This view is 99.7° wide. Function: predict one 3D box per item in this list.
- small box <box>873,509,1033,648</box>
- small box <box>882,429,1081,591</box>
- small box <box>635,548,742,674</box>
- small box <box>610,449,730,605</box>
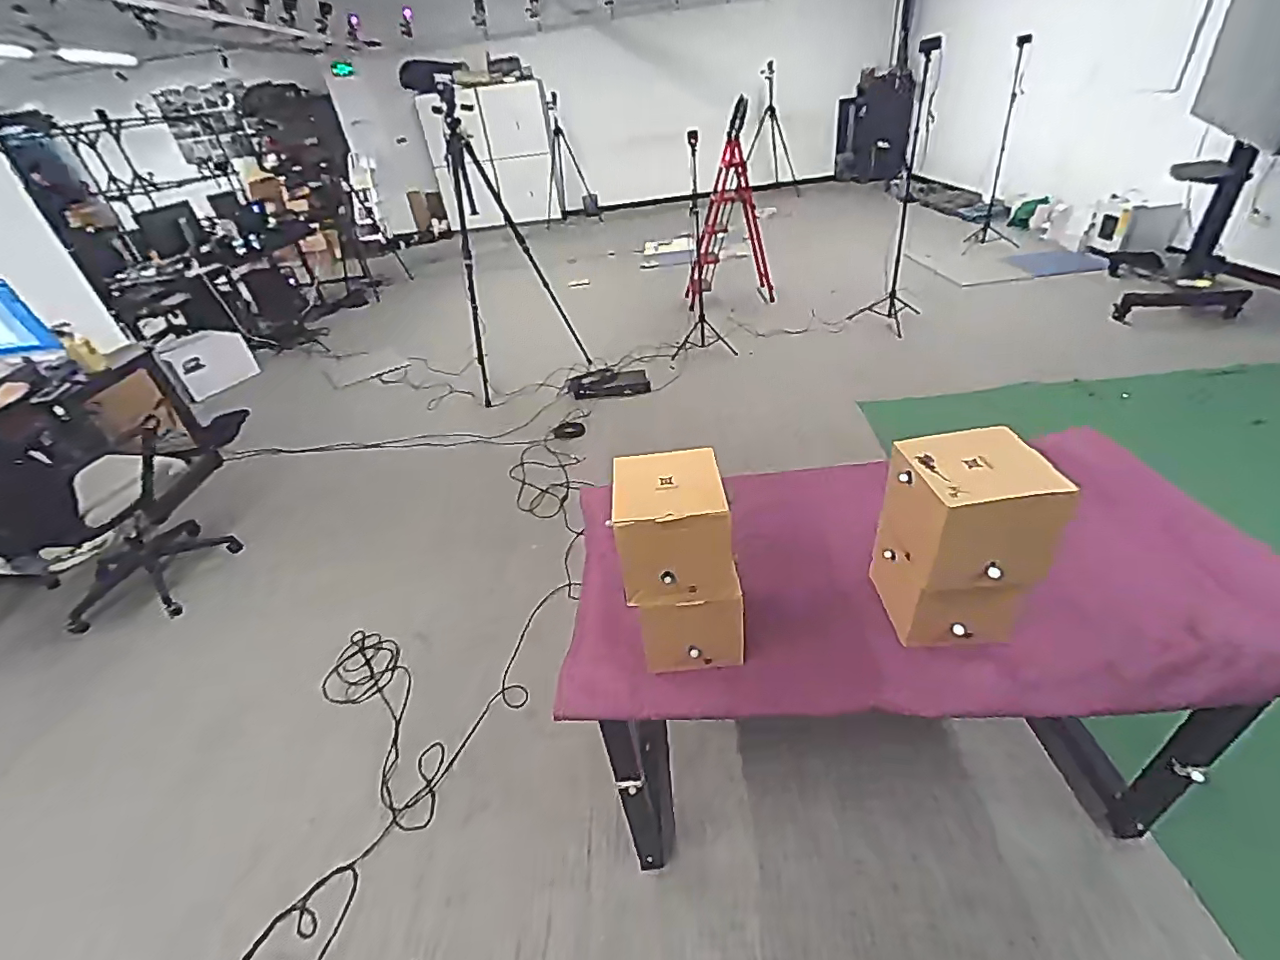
[{"bbox_3d":[0.512,0.161,0.919,0.168,0.176,0.179,-5,35,5],"label":"small box"},{"bbox_3d":[0.486,0.045,0.803,0.179,0.176,0.168,-7,35,2],"label":"small box"},{"bbox_3d":[0.080,0.207,0.936,0.168,0.176,0.179,-7,34,3],"label":"small box"},{"bbox_3d":[0.047,0.072,0.851,0.168,0.176,0.179,-6,34,2],"label":"small box"}]
